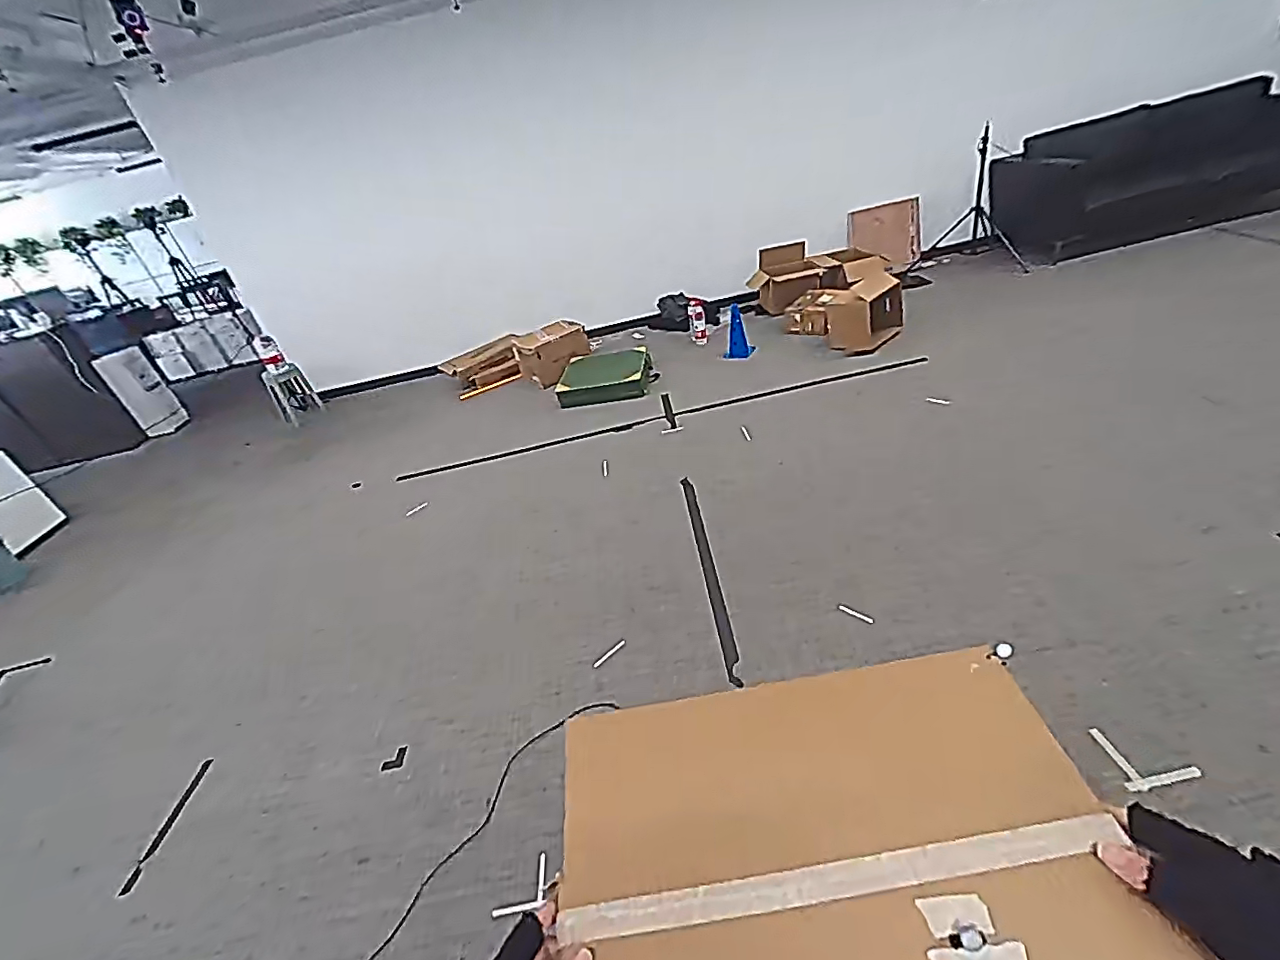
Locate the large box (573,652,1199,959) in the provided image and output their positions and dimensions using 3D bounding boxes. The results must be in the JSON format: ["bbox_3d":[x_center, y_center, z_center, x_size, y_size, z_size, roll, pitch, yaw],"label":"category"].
[{"bbox_3d":[0.170,0.410,0.490,0.408,0.320,0.320,-11,39,0],"label":"large box"}]
